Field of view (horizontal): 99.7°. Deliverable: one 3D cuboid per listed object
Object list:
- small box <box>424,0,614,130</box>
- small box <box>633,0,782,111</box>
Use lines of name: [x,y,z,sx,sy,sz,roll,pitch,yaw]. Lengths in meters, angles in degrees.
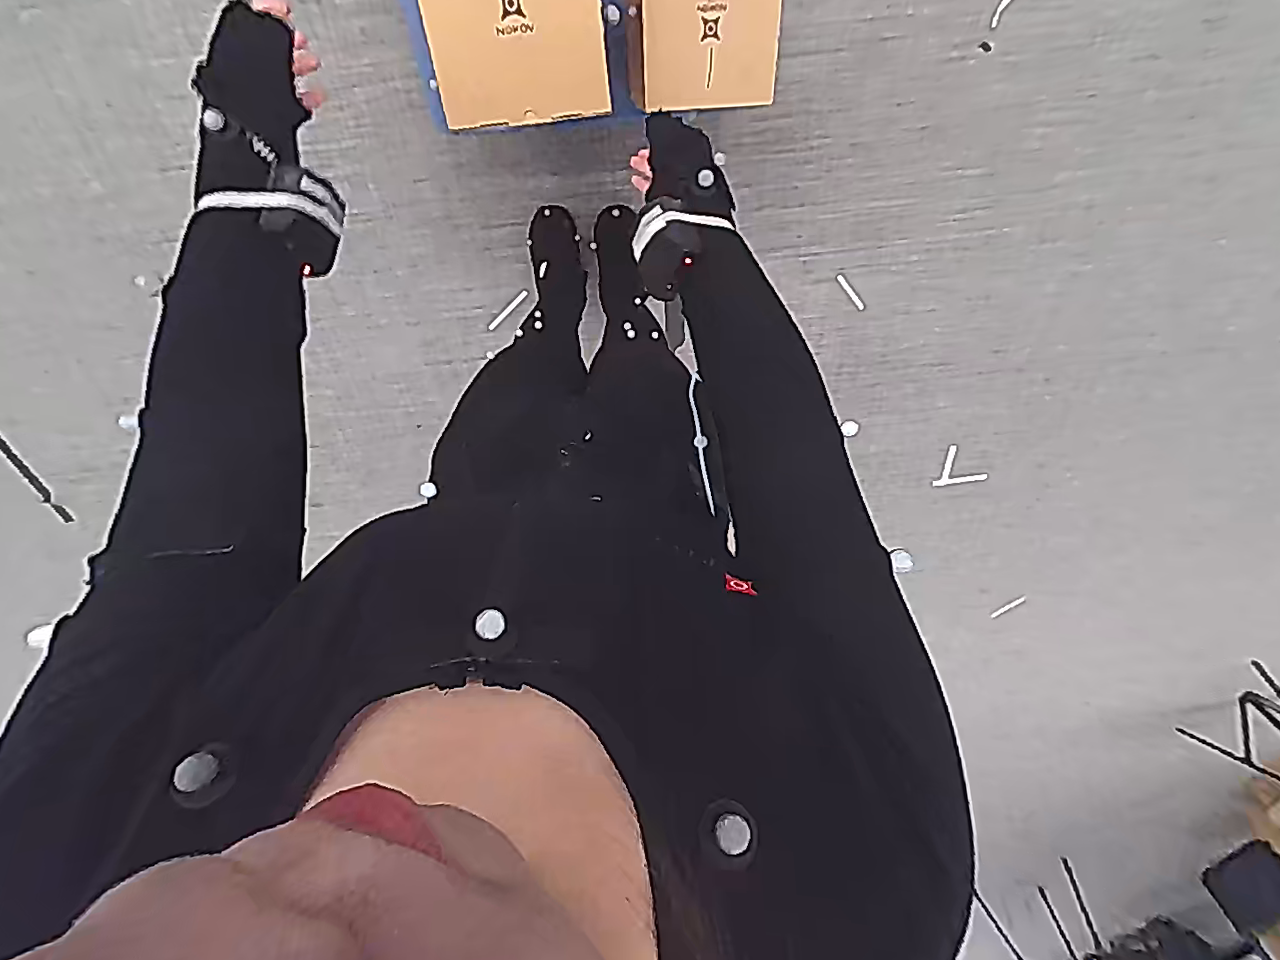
small box: [-0.121,-0.479,0.562,0.168,0.176,0.179,-7,127,0]
small box: [0.078,-0.589,0.701,0.168,0.176,0.179,-4,127,-2]
